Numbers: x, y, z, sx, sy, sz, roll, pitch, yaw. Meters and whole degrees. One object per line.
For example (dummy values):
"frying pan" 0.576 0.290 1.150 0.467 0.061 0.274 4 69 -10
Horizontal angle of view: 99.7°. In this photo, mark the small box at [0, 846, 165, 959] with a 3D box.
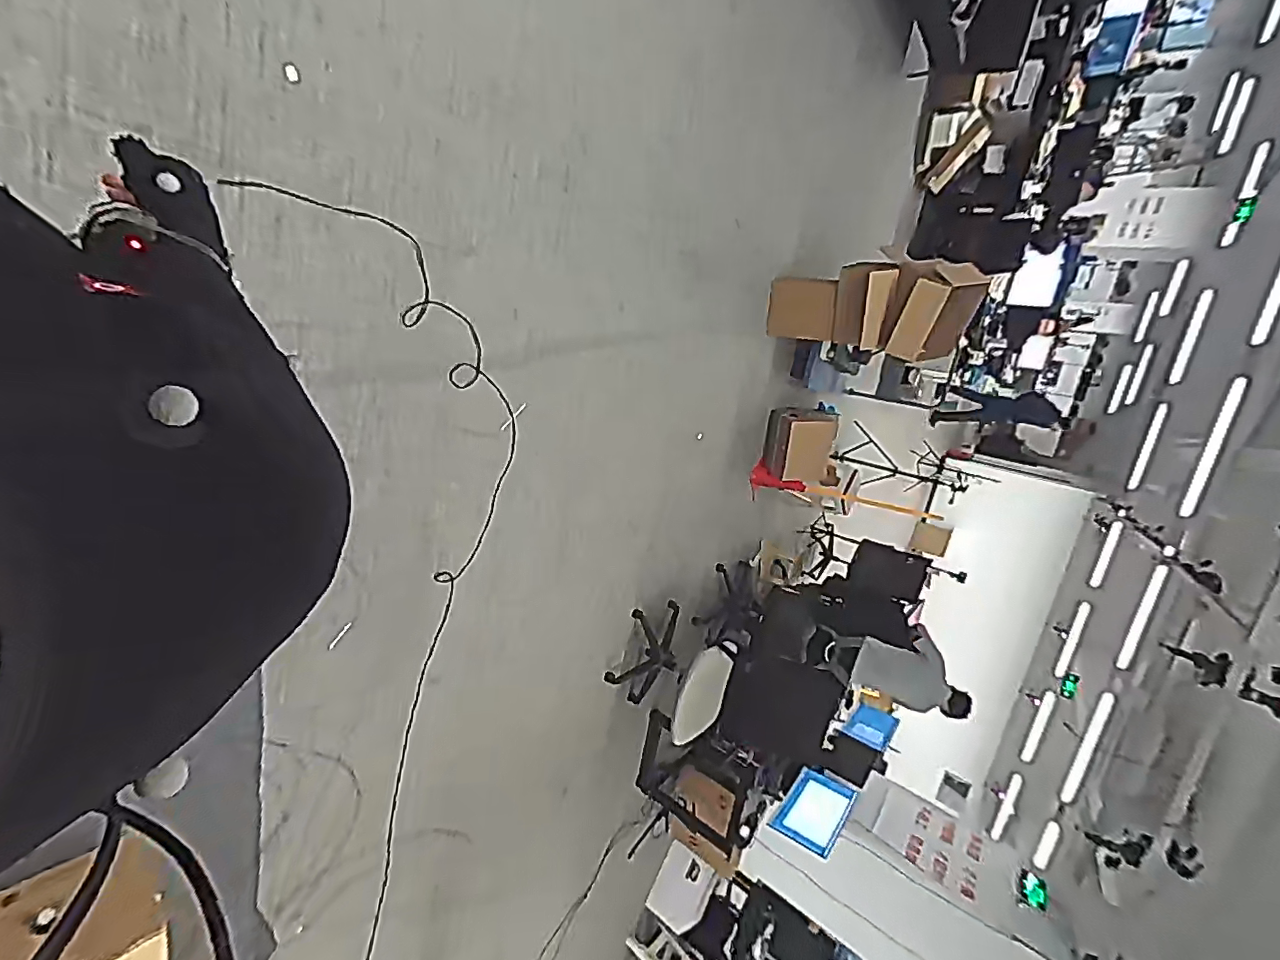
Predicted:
"small box" -0.652 0.552 0.596 0.168 0.176 0.179 -9 112 -52
